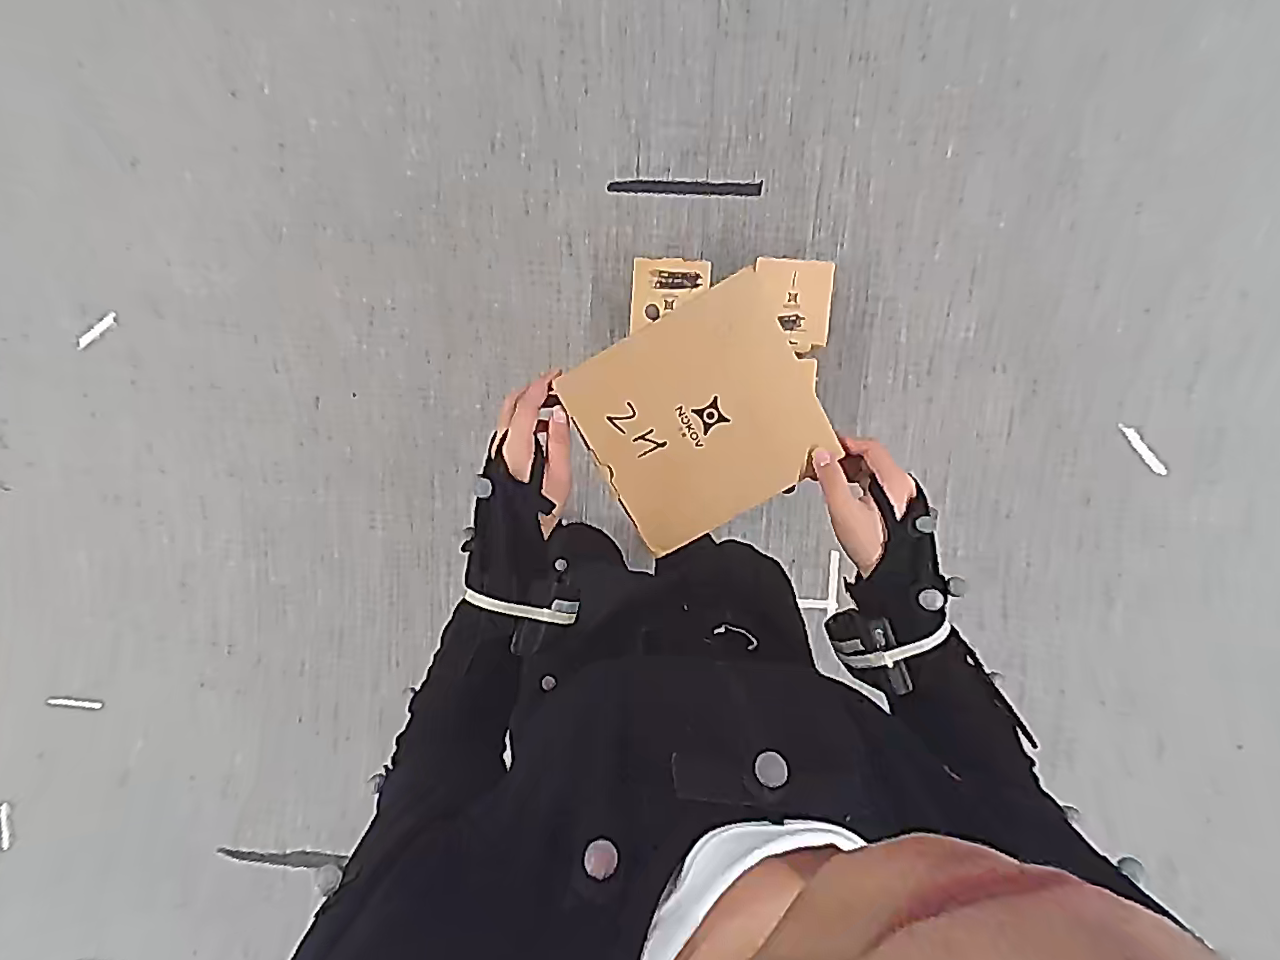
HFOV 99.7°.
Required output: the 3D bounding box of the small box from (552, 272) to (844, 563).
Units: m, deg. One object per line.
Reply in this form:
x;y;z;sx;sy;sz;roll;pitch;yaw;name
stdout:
0.044;-0.058;0.488;0.179;0.176;0.168;-29;99;5;small box
